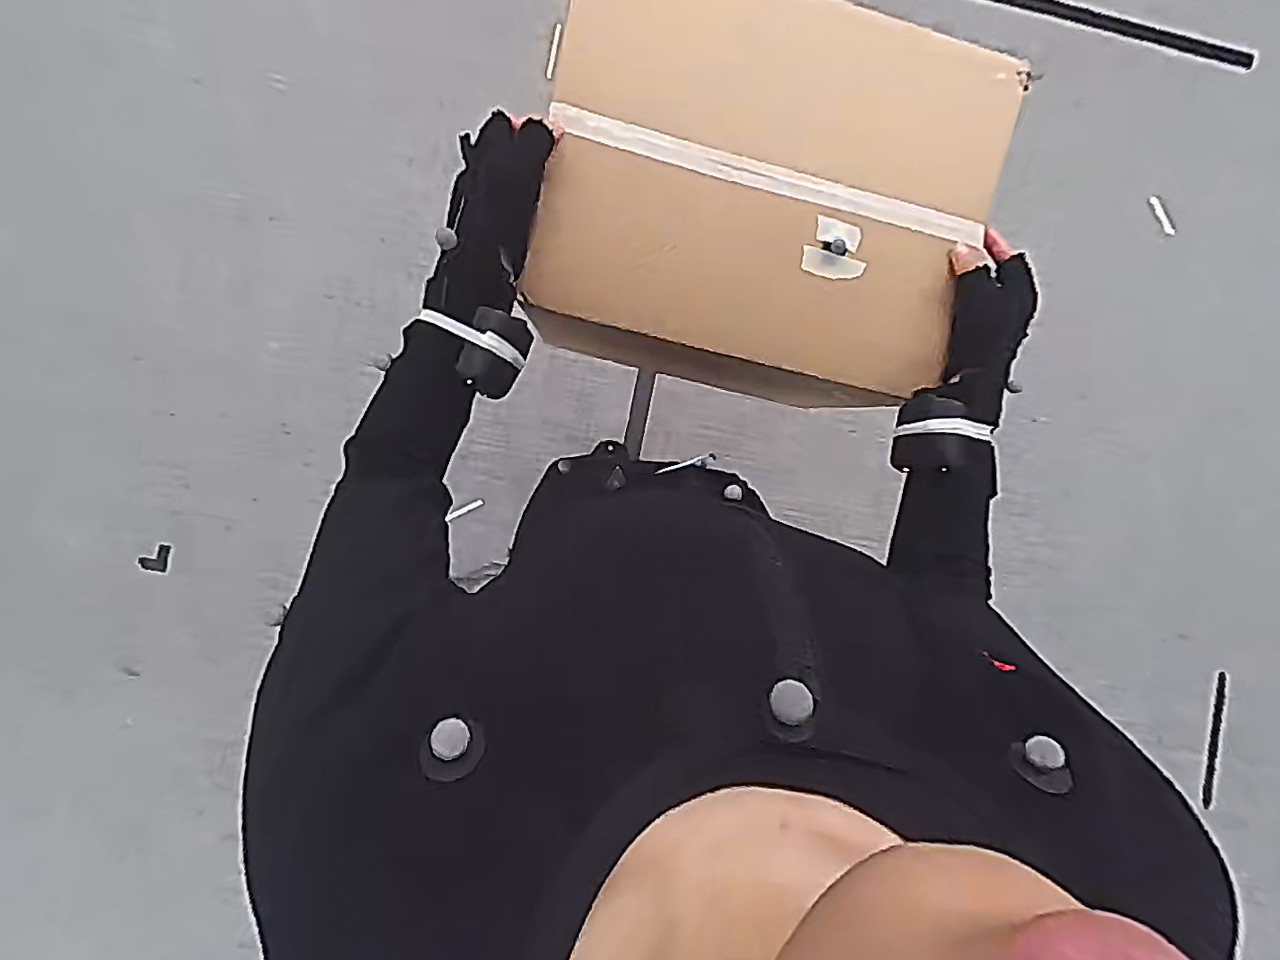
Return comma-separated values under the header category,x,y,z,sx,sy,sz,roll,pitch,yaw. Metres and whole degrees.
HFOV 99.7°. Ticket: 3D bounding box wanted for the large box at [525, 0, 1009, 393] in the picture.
category,x,y,z,sx,sy,sz,roll,pitch,yaw
large box,0.103,-0.299,0.639,0.408,0.320,0.320,13,98,-7
